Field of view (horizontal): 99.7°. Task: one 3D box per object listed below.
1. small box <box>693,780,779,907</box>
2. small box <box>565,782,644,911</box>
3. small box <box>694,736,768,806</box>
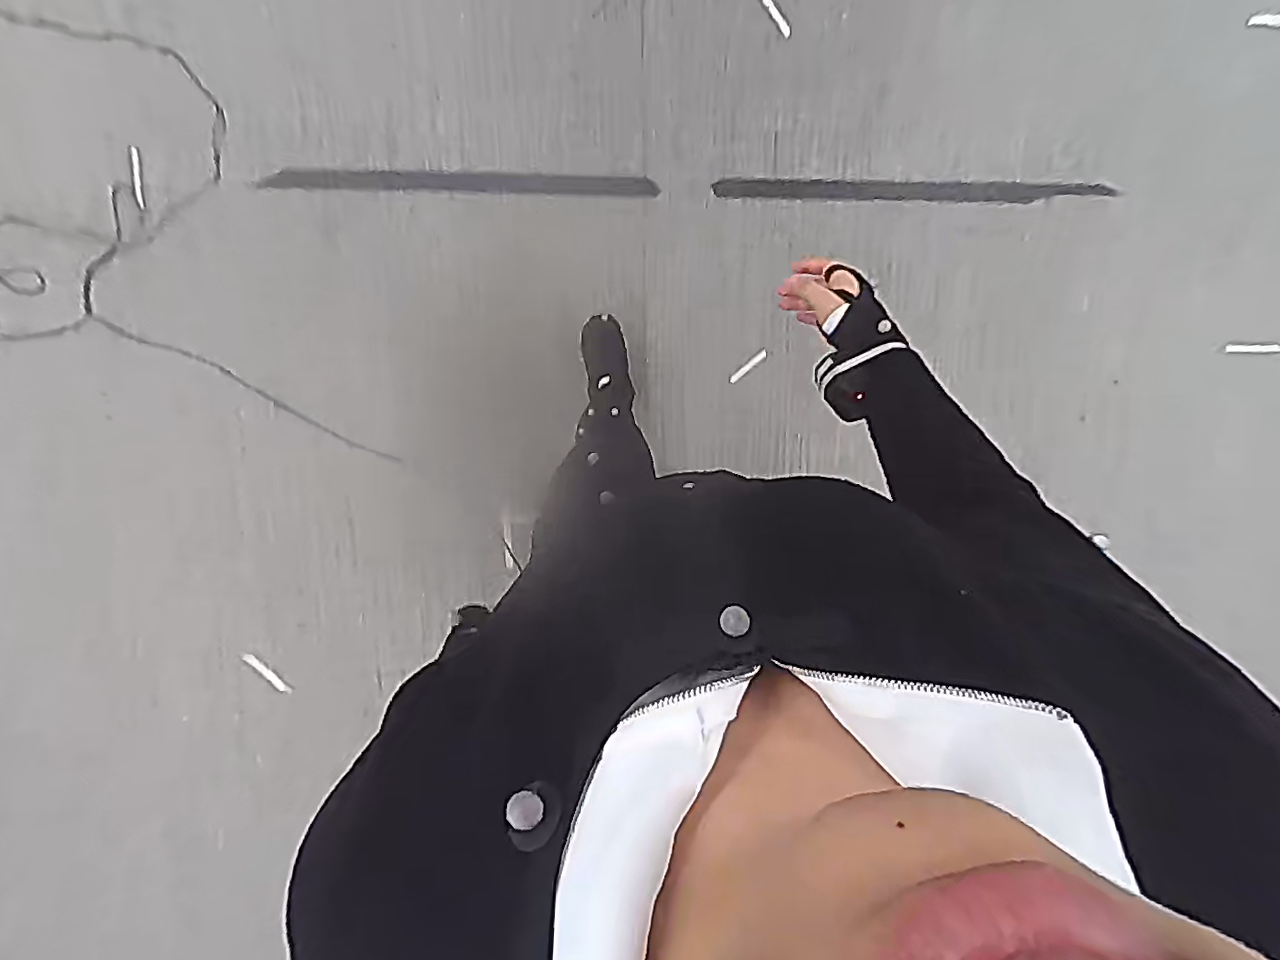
[{"bbox_3d":[0.211,0.820,1.230,0.168,0.176,0.179,0,98,0],"label":"small box"},{"bbox_3d":[-0.076,0.826,1.231,0.168,0.176,0.179,-3,97,-2],"label":"small box"},{"bbox_3d":[0.230,0.791,1.393,0.168,0.176,0.179,-2,97,0],"label":"small box"}]
